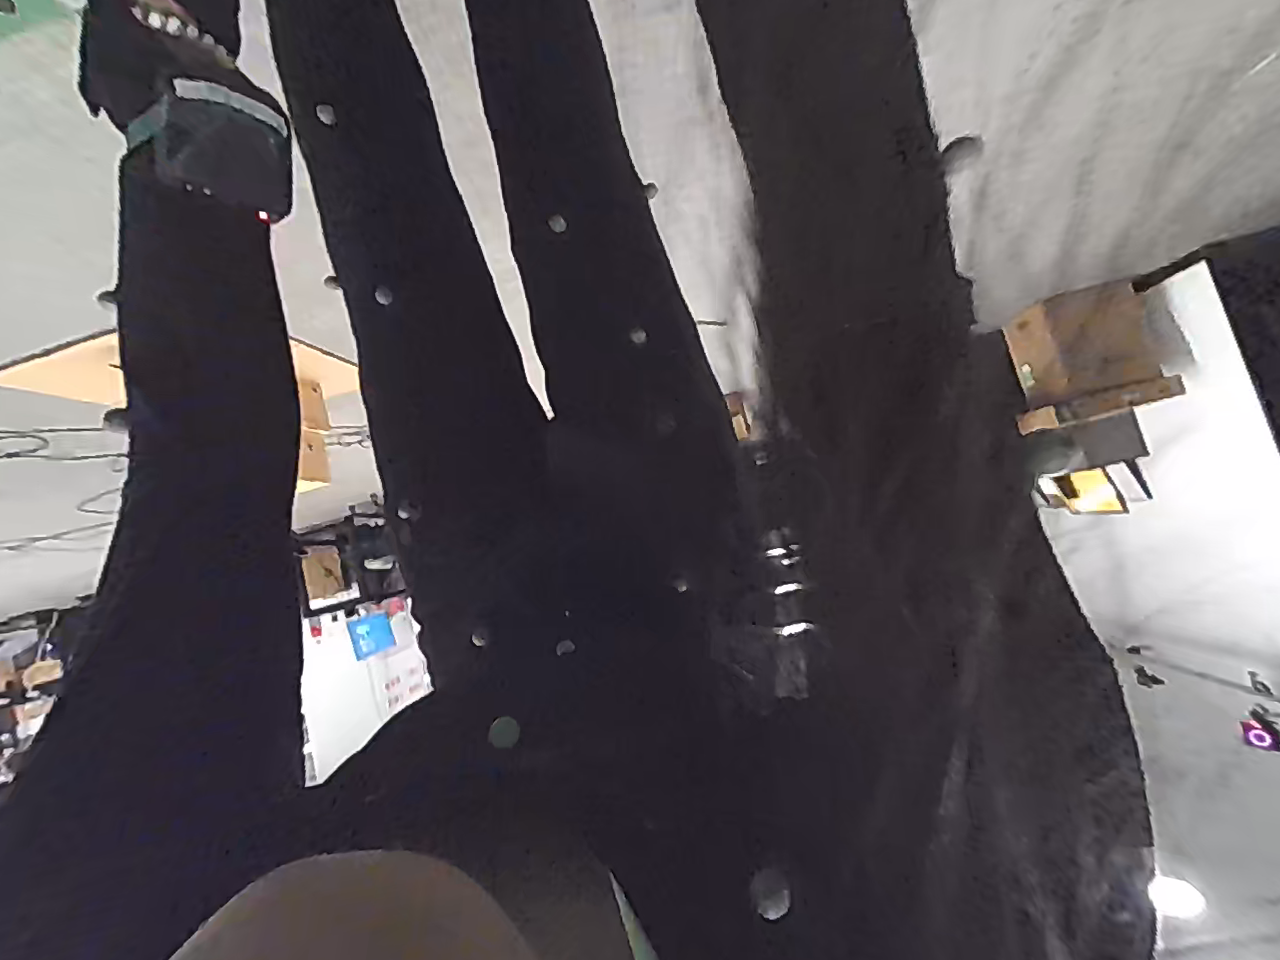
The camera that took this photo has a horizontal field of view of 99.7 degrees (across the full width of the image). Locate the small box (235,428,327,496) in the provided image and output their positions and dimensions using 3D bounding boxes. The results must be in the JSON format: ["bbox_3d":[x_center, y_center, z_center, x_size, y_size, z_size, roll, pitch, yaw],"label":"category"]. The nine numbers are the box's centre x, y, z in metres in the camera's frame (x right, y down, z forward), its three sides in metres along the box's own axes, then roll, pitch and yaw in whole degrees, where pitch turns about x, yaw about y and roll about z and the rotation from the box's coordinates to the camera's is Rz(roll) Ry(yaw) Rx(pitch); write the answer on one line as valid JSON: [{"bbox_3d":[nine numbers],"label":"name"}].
[{"bbox_3d":[-1.112,-0.054,1.671,0.179,0.176,0.168,-15,175,5],"label":"small box"}]

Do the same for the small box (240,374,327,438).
[{"bbox_3d":[-1.125,-0.218,1.686,0.179,0.176,0.168,-15,175,8],"label":"small box"}]
